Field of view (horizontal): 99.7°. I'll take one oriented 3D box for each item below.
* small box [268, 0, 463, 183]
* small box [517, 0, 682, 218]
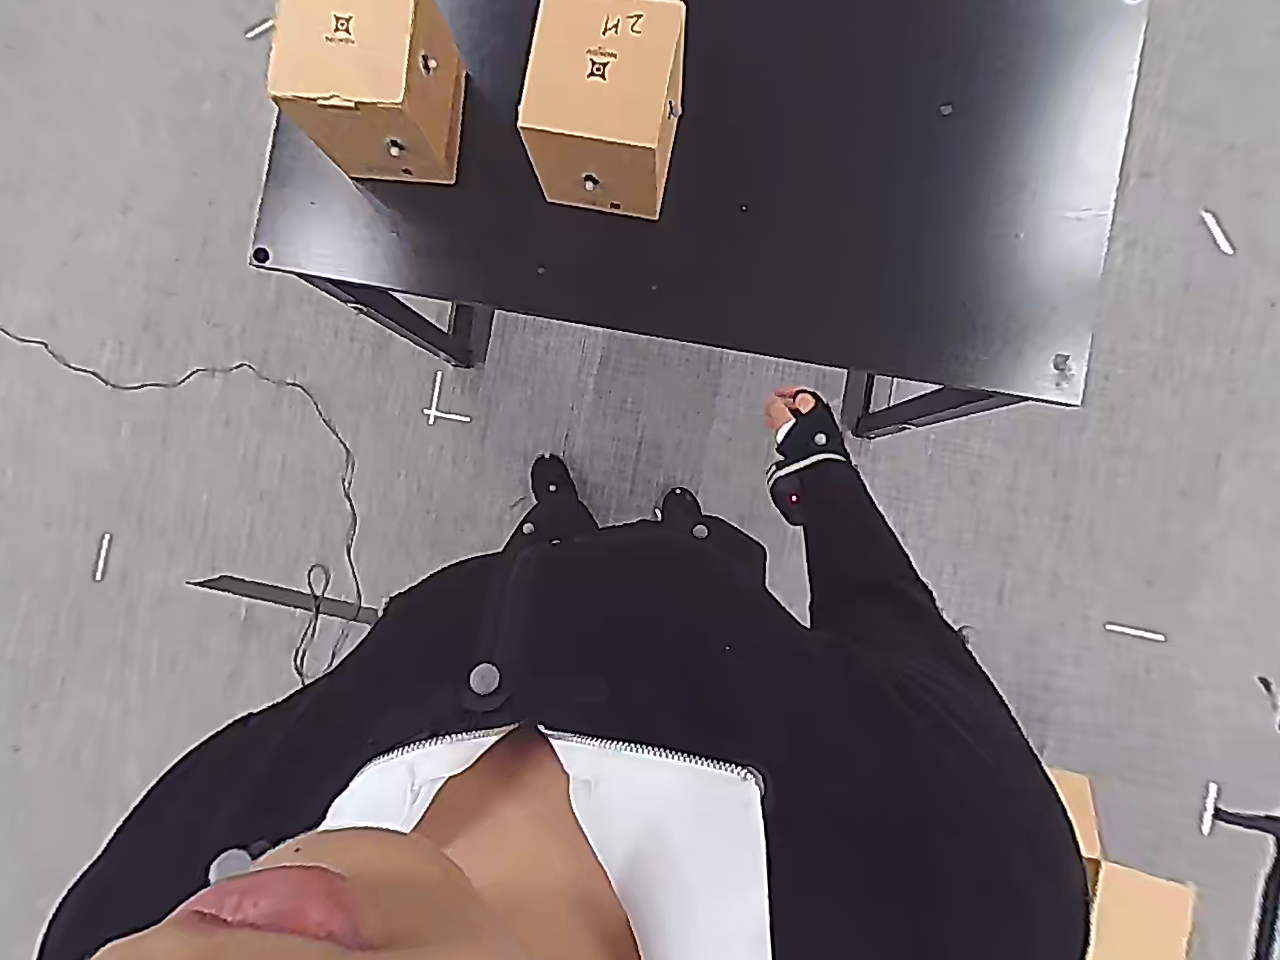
[{"bbox_3d":[-0.346,-0.524,0.713,0.168,0.176,0.179,5,88,1],"label":"small box"},{"bbox_3d":[-0.043,-0.470,0.699,0.168,0.176,0.179,11,89,2],"label":"small box"}]
